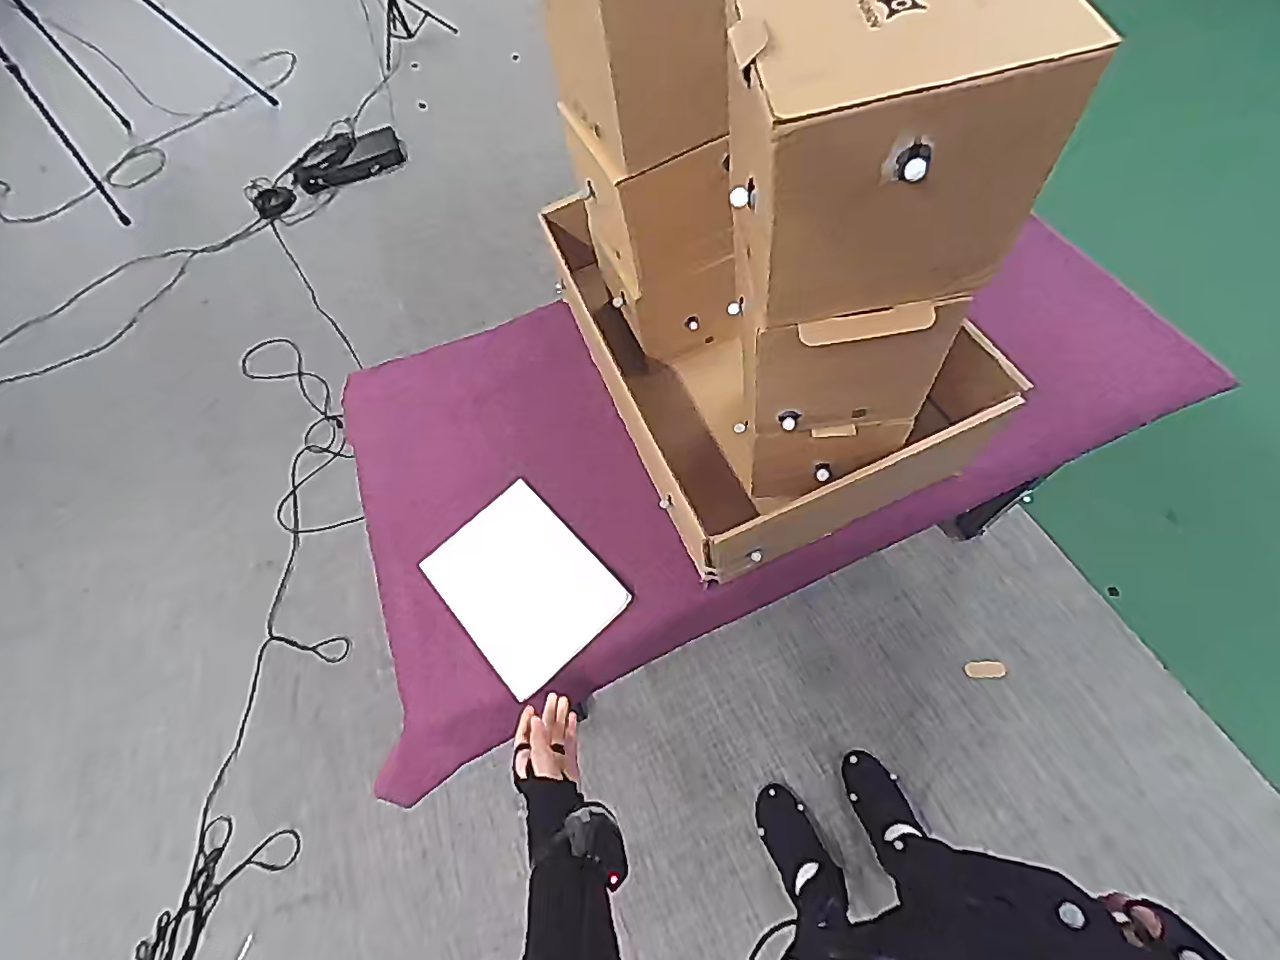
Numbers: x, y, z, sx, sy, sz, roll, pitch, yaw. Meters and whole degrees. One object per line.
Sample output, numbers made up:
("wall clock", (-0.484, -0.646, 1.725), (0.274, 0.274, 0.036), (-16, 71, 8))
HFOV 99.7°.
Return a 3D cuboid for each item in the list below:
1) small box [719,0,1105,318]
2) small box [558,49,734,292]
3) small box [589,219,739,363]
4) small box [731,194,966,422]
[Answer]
("small box", (0.158, -0.239, 0.387), (0.179, 0.176, 0.168), (-9, 63, 7))
("small box", (0.027, -0.367, 0.662), (0.179, 0.176, 0.168), (-27, 64, -4))
("small box", (0.045, -0.300, 0.808), (0.168, 0.176, 0.179), (-24, 64, -2))
("small box", (0.184, -0.171, 0.532), (0.168, 0.176, 0.179), (-7, 62, 9))
